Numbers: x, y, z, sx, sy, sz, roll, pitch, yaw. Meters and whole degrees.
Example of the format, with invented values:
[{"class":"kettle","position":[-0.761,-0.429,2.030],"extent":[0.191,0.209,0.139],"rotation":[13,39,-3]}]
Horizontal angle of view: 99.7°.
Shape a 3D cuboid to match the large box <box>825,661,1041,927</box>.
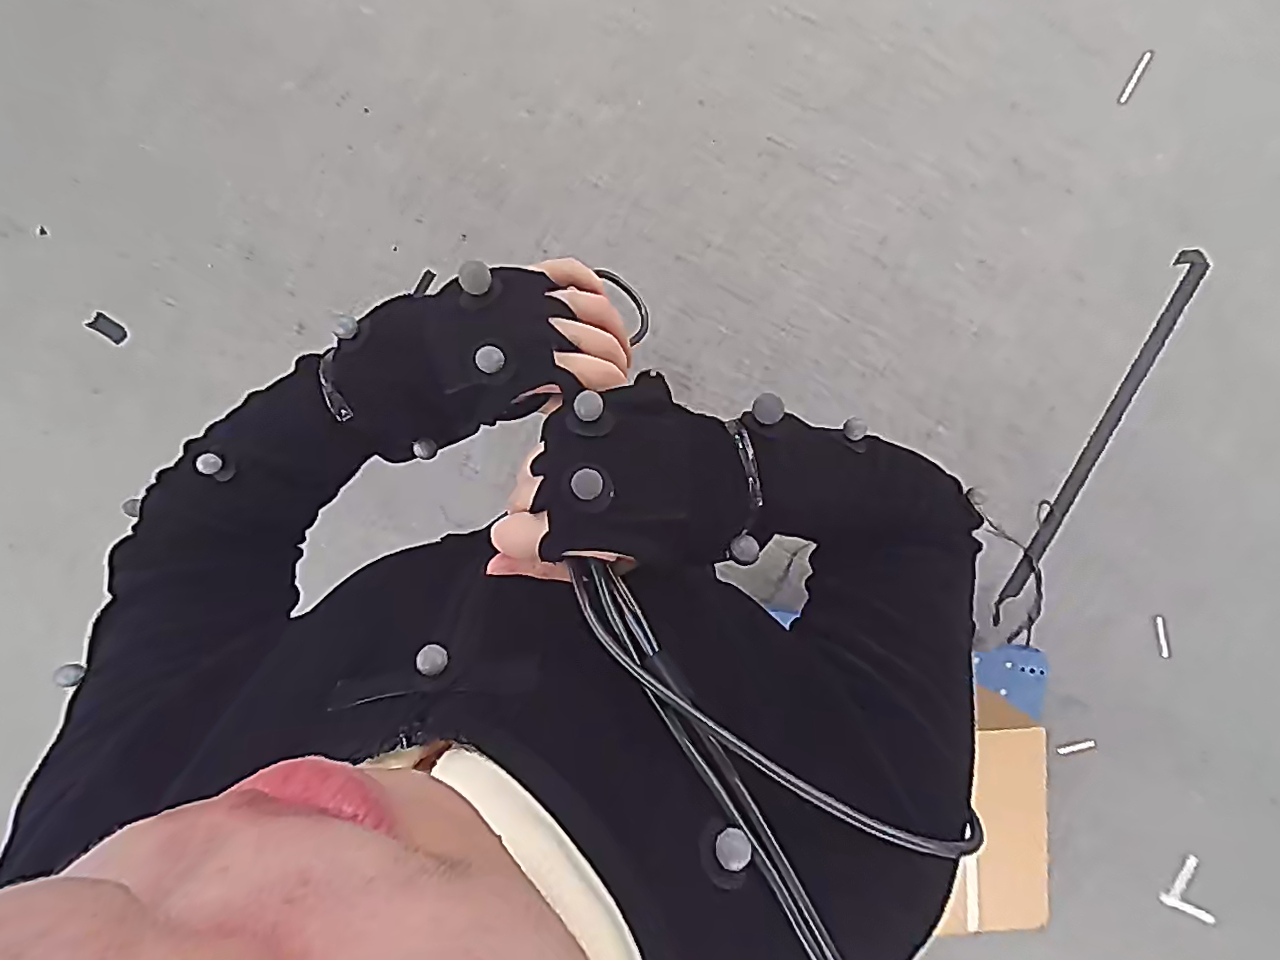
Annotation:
[{"class":"large box","position":[0.621,0.660,1.197],"extent":[0.320,0.320,0.408],"rotation":[-3,93,0]}]
